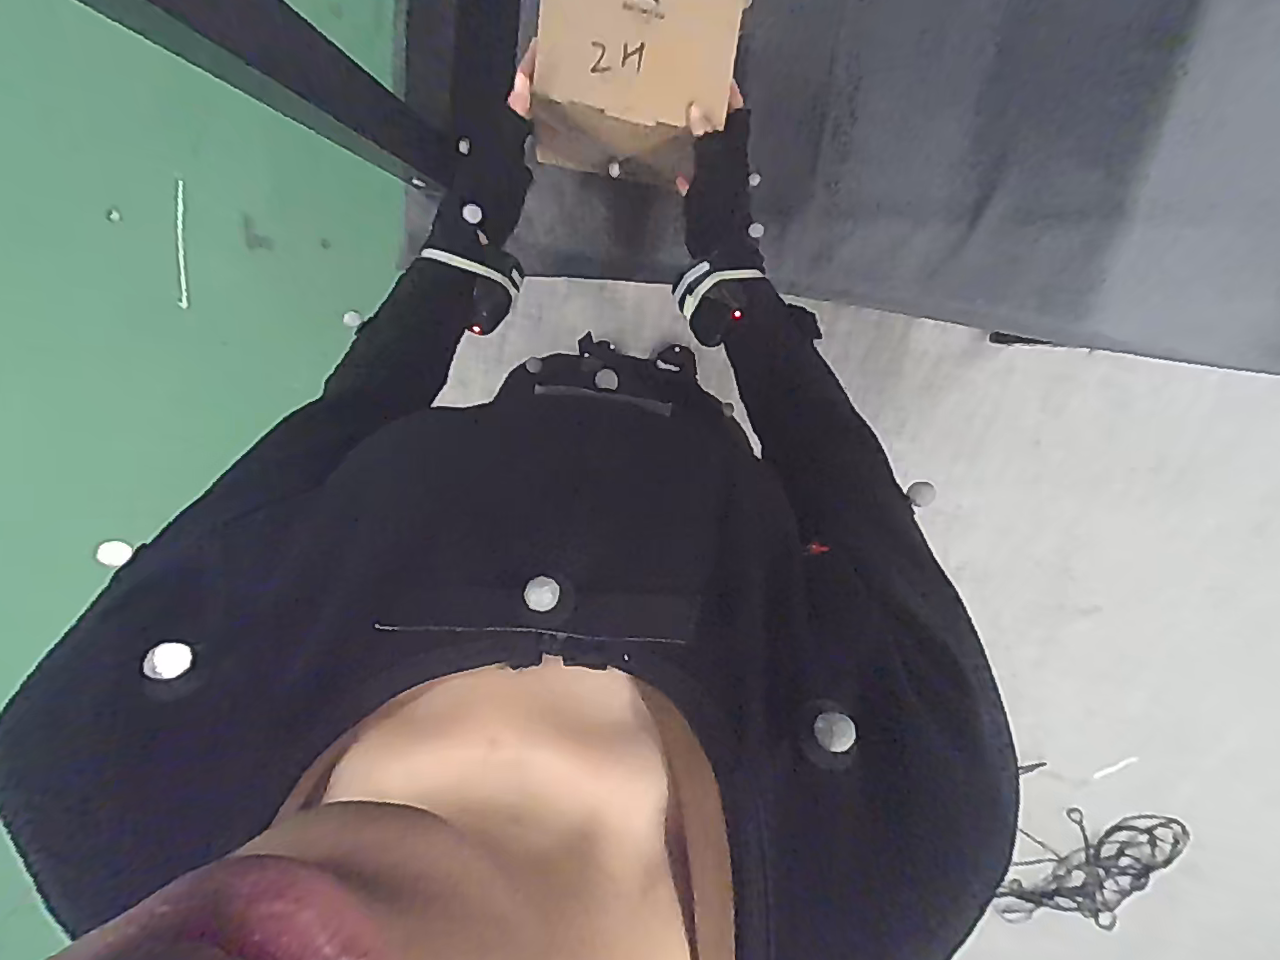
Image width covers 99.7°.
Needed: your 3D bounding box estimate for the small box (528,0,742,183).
[{"bbox_3d":[-0.013,-0.408,0.505,0.168,0.176,0.179,5,103,-13],"label":"small box"}]
